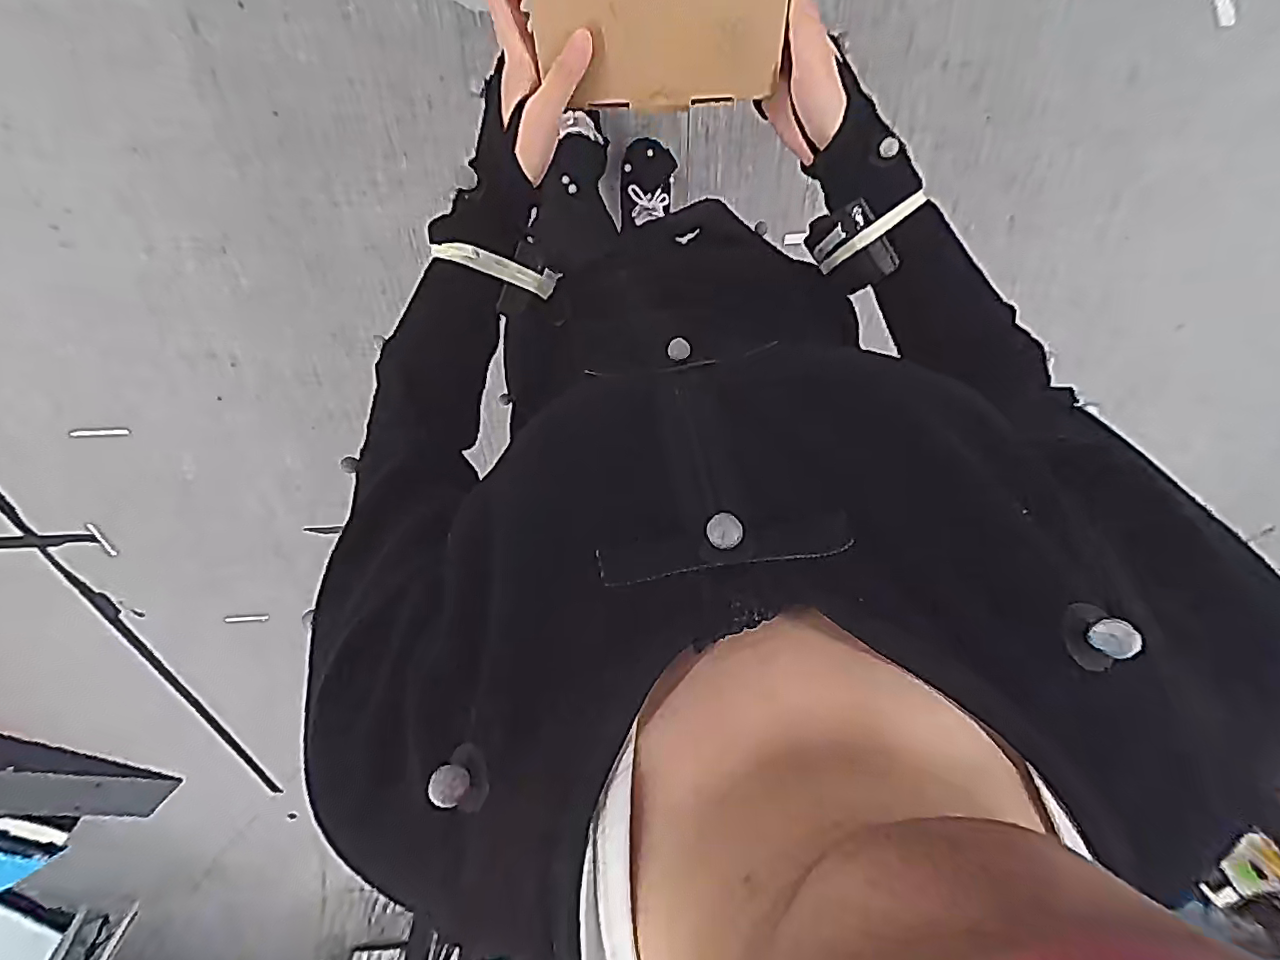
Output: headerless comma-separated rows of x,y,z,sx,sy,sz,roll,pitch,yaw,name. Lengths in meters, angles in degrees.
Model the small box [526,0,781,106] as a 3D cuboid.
0.007,-0.387,0.367,0.168,0.176,0.179,-3,141,1,small box
